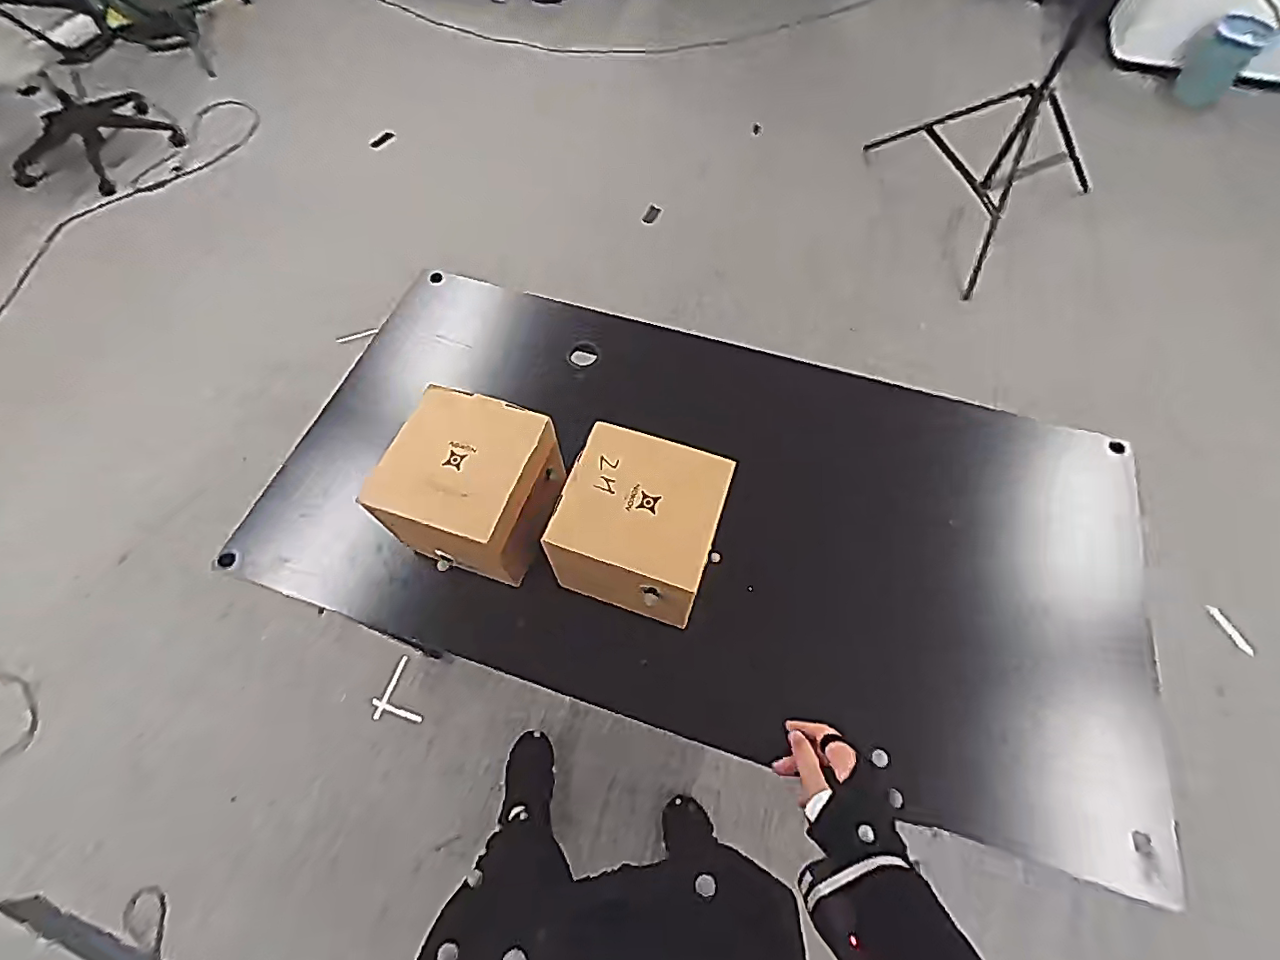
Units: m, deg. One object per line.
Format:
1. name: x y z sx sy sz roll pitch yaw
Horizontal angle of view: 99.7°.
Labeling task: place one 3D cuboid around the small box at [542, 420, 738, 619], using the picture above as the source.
1. small box: 0.004 0.057 0.664 0.179 0.176 0.168 17 64 9

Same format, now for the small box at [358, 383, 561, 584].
1. small box: -0.209 0.010 0.691 0.168 0.176 0.179 15 64 9
